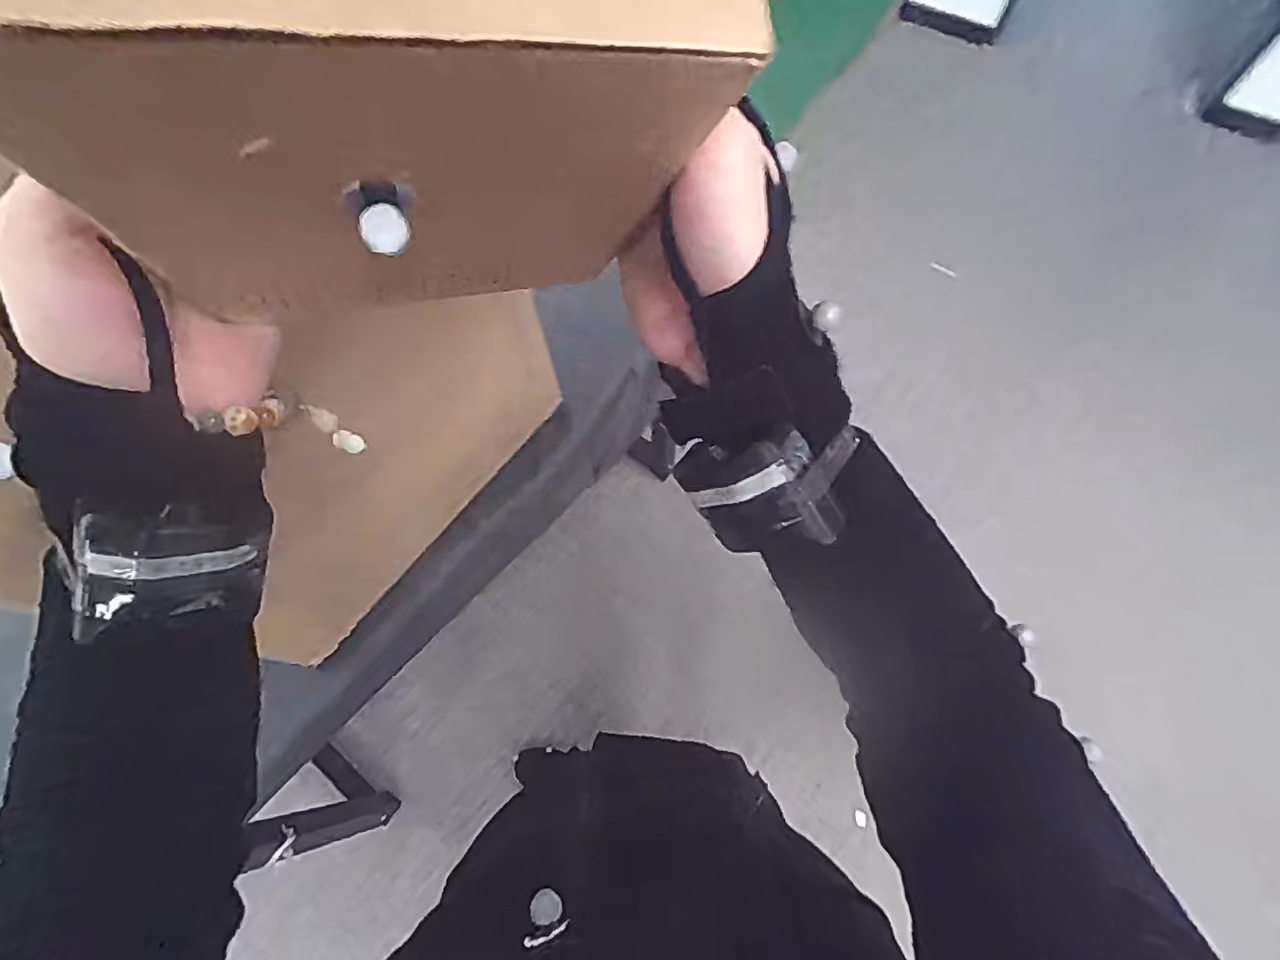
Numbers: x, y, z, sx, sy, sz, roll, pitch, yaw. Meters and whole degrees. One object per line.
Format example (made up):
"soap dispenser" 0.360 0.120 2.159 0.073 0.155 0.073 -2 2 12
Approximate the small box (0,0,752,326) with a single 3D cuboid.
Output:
"small box" -0.091 -0.166 0.193 0.179 0.176 0.168 -15 95 -18
